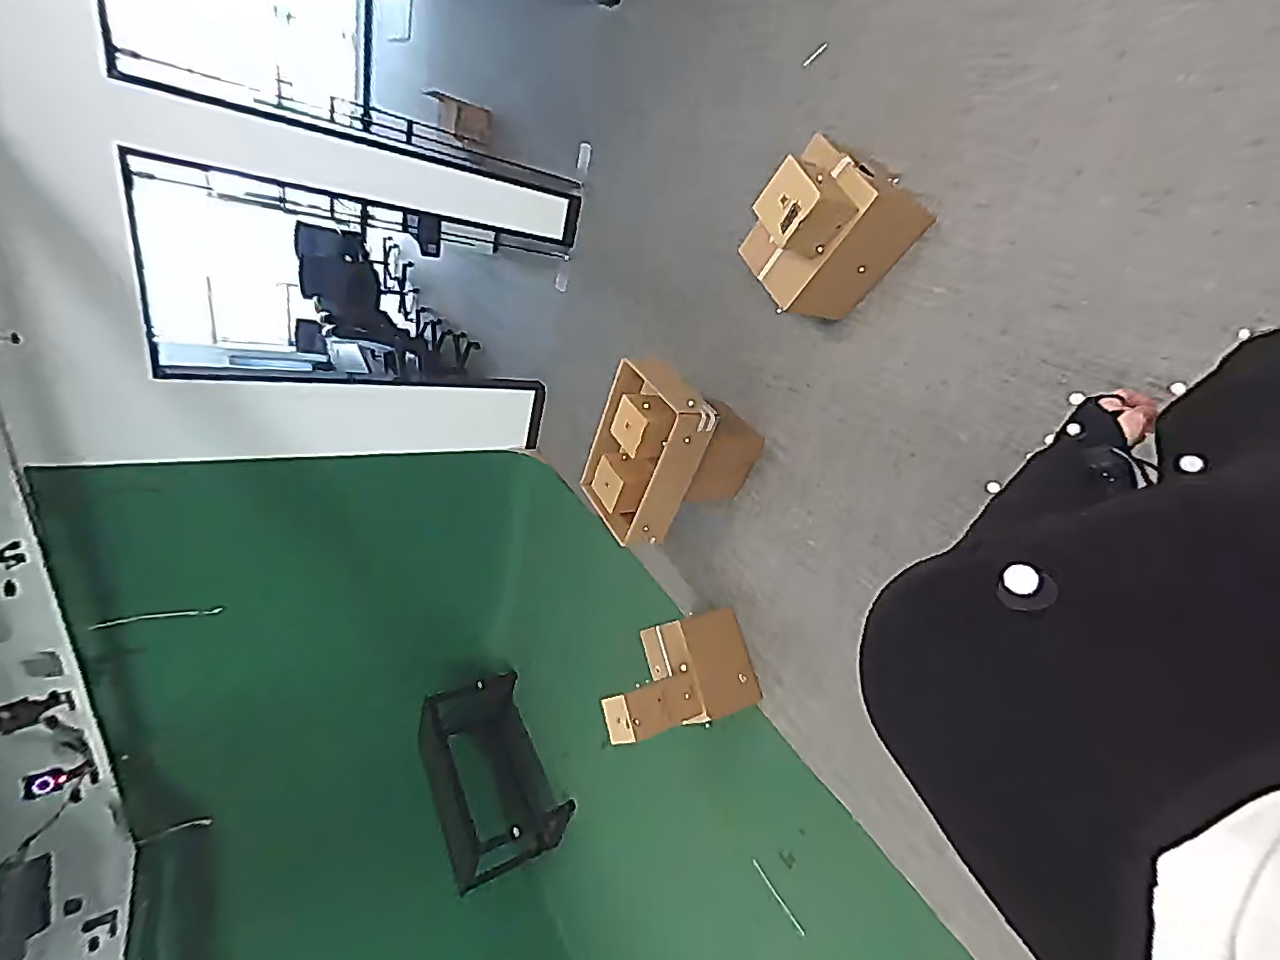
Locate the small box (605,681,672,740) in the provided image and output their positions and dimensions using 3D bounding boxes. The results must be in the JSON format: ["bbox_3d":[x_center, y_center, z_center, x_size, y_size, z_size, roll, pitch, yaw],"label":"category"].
[{"bbox_3d":[-0.006,0.874,2.050,0.179,0.176,0.168,-39,63,49],"label":"small box"}]

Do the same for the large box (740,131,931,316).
[{"bbox_3d":[0.601,-0.783,1.702,0.408,0.320,0.320,-53,52,44],"label":"large box"}]

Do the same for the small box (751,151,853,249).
[{"bbox_3d":[0.449,-0.763,1.494,0.168,0.176,0.179,-48,58,46],"label":"small box"}]

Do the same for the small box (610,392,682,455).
[{"bbox_3d":[0.022,-0.207,1.976,0.179,0.176,0.168,51,132,36],"label":"small box"}]

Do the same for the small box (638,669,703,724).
[{"bbox_3d":[0.121,0.867,2.154,0.179,0.176,0.168,-38,64,48],"label":"small box"}]
